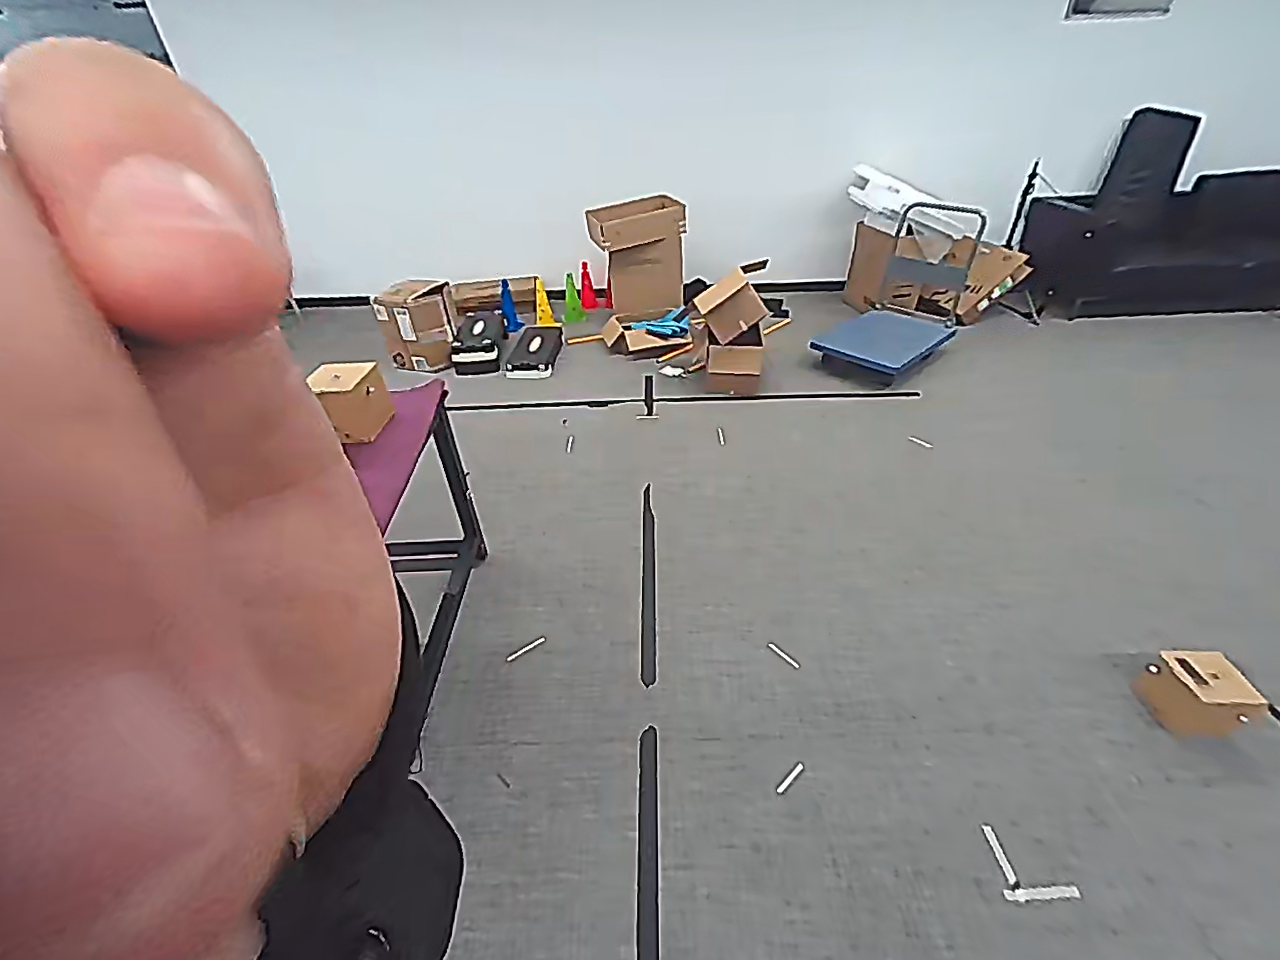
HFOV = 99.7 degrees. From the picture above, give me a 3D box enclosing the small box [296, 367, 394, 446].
[{"bbox_3d":[-0.838,-0.213,1.560,0.168,0.176,0.179,-1,37,4],"label":"small box"}]
